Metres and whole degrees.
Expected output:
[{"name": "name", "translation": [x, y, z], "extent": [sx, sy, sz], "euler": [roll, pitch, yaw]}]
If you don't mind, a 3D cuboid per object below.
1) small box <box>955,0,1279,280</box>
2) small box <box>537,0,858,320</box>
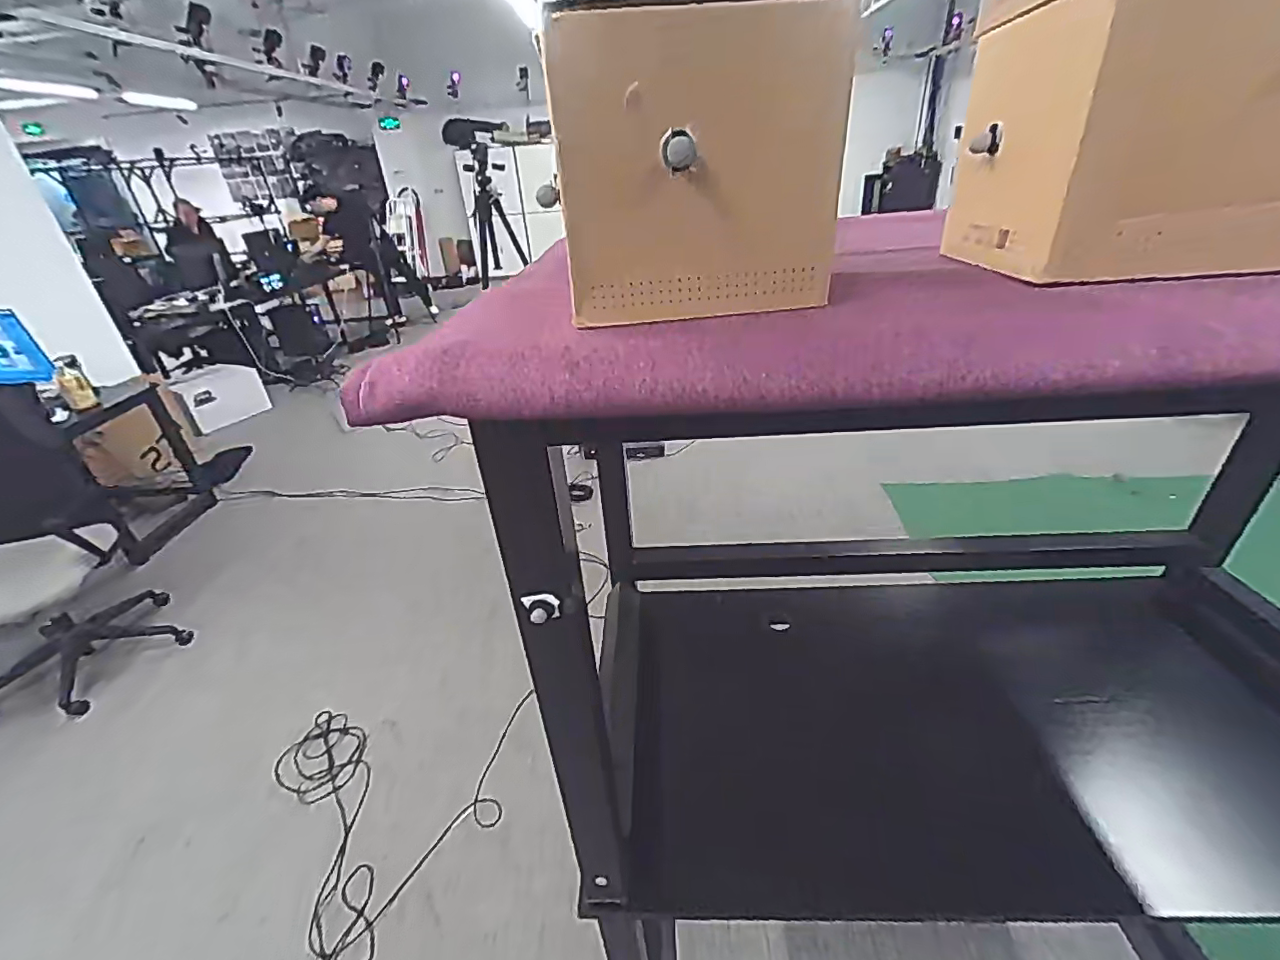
[{"name": "small box", "translation": [0.357, -0.247, 0.394], "extent": [0.179, 0.176, 0.168], "euler": [-1, 30, 5]}, {"name": "small box", "translation": [0.031, -0.220, 0.387], "extent": [0.179, 0.176, 0.168], "euler": [-7, 32, -4]}]
